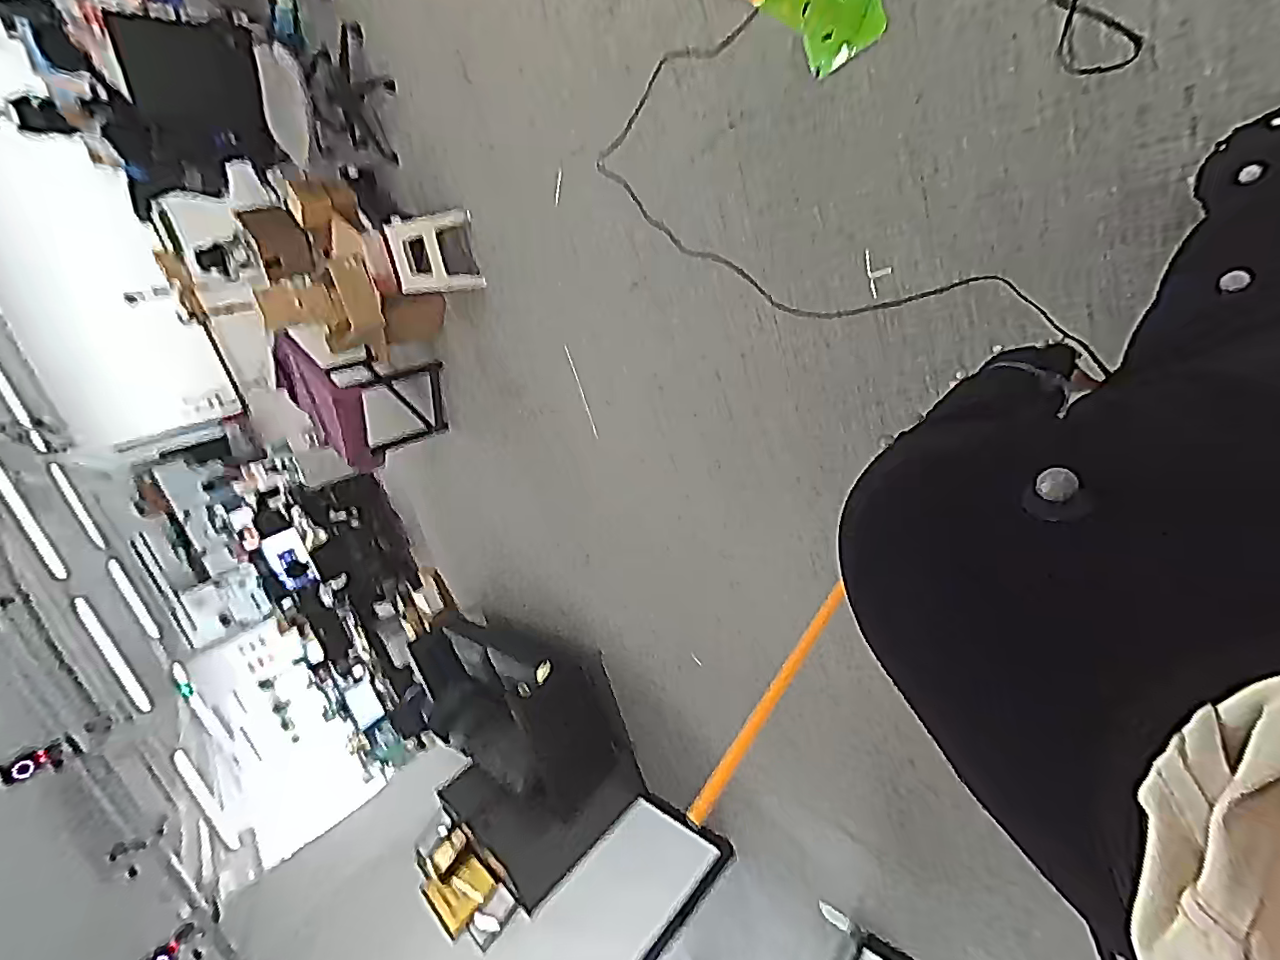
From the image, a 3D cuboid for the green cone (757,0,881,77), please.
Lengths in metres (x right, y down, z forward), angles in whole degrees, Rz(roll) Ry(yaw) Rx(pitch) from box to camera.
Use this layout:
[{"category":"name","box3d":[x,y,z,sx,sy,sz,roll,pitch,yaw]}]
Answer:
[{"category":"green cone","box3d":[0.373,-1.105,1.249,0.200,0.368,0.202,-5,107,50]}]
